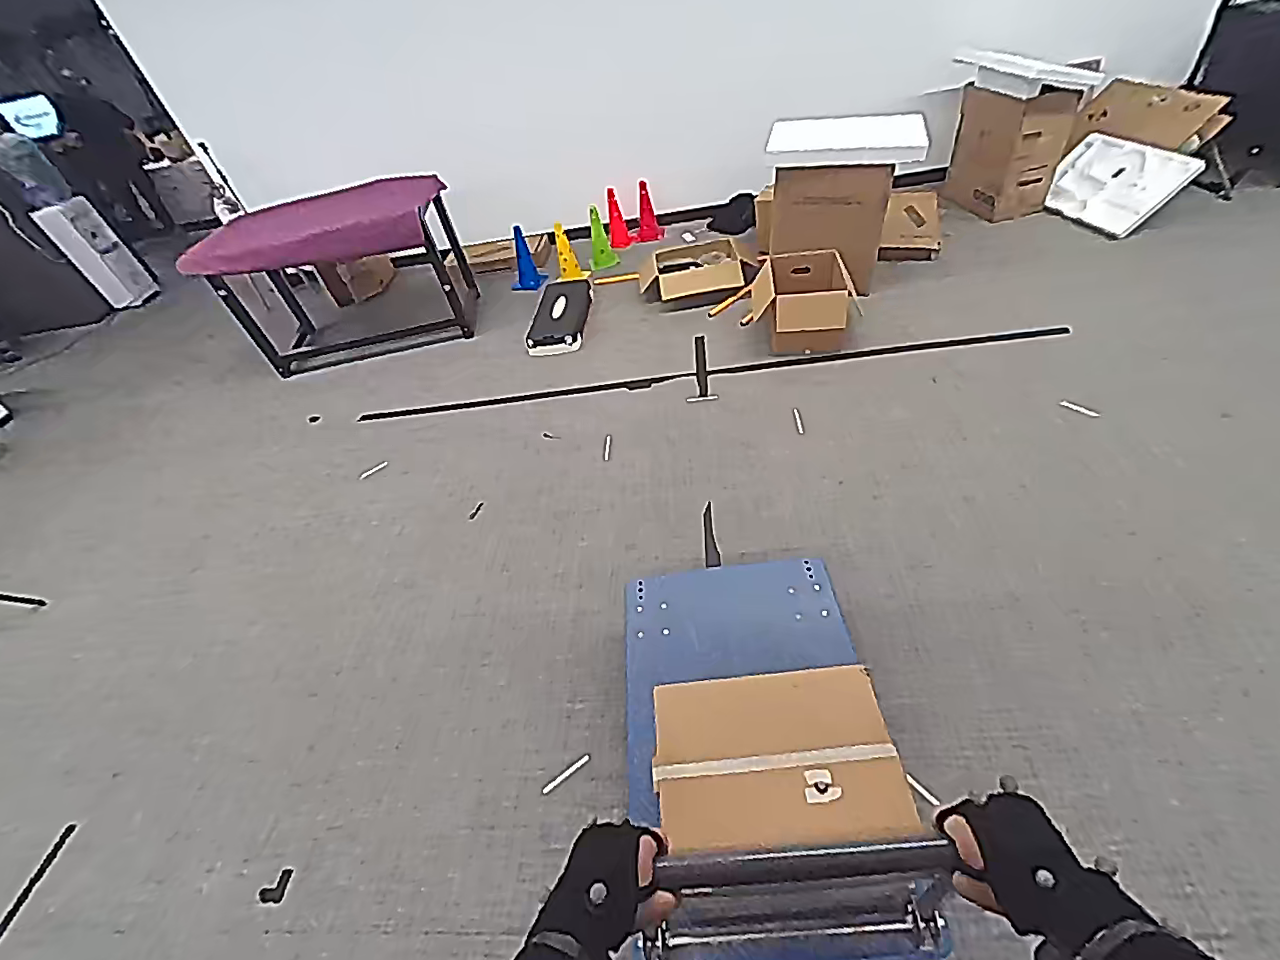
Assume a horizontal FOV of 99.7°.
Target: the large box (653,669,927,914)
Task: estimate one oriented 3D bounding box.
[{"bbox_3d":[0.247,0.594,1.025,0.408,0.320,0.320,-7,45,4],"label":"large box"}]
